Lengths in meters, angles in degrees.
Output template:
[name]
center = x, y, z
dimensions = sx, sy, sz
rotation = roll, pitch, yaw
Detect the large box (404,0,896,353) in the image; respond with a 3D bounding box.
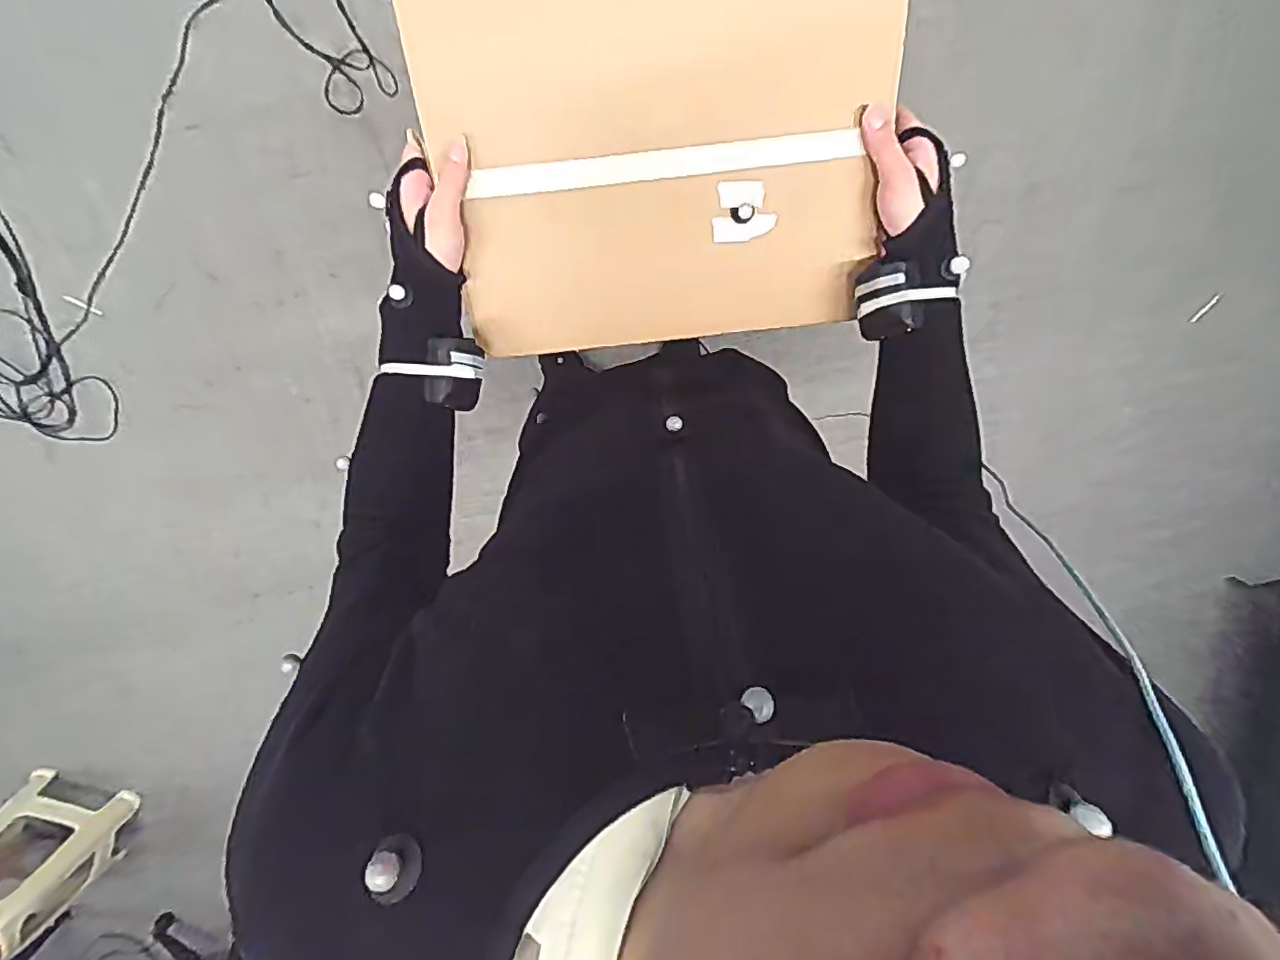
[large box]
center = 0.013, -0.357, 0.619
dimensions = 0.408, 0.320, 0.320
rotation = -7, 119, -1
